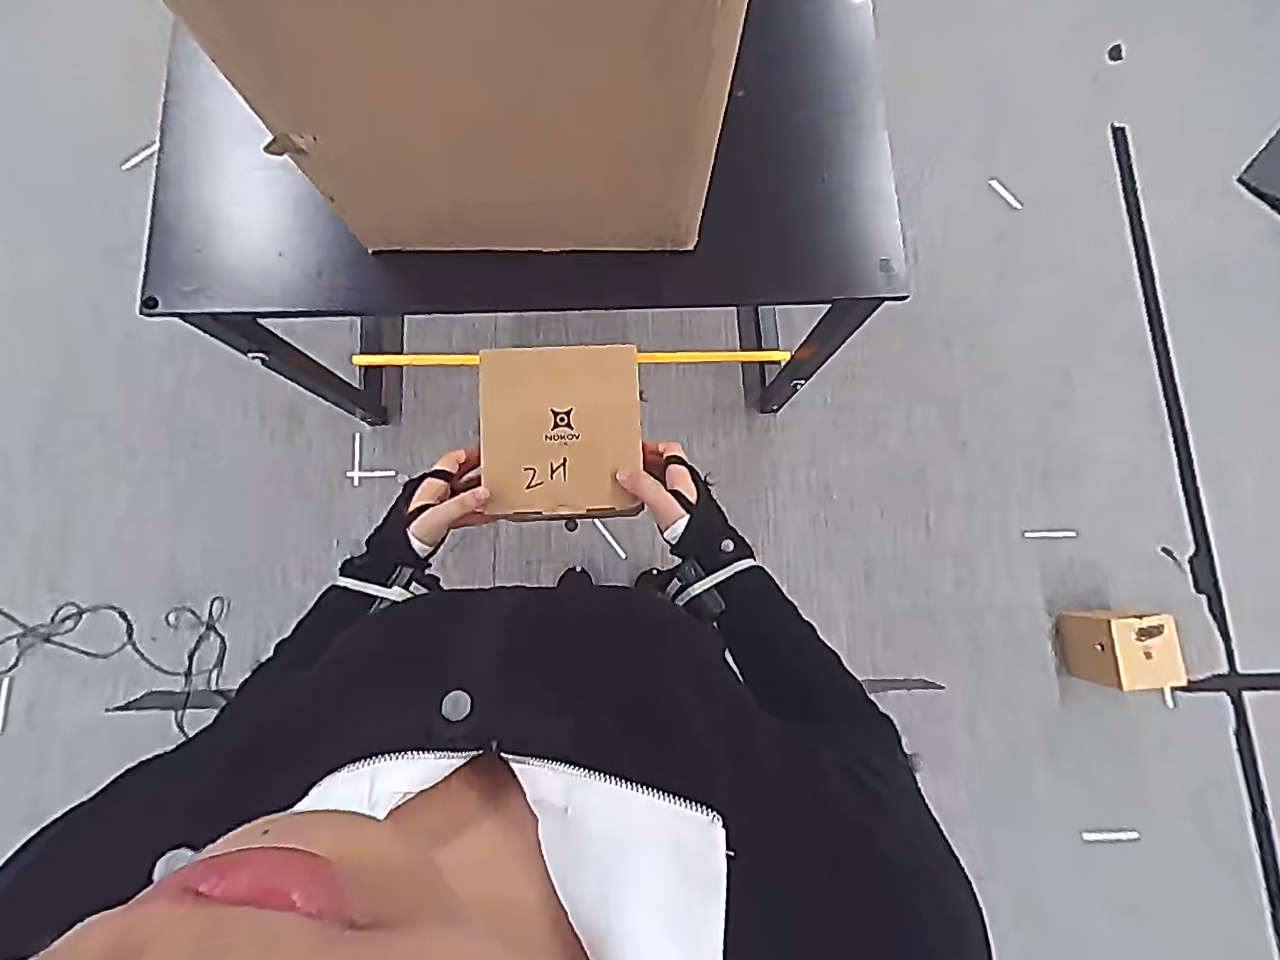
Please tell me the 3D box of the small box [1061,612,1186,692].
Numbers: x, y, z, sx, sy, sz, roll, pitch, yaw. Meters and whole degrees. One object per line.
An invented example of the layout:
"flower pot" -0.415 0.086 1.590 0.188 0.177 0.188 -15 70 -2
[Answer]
"small box" 1.262 0.446 1.427 0.168 0.176 0.179 -4 82 -2

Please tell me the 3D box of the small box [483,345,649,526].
"small box" -0.080 -0.041 0.624 0.168 0.176 0.179 -2 83 -3
